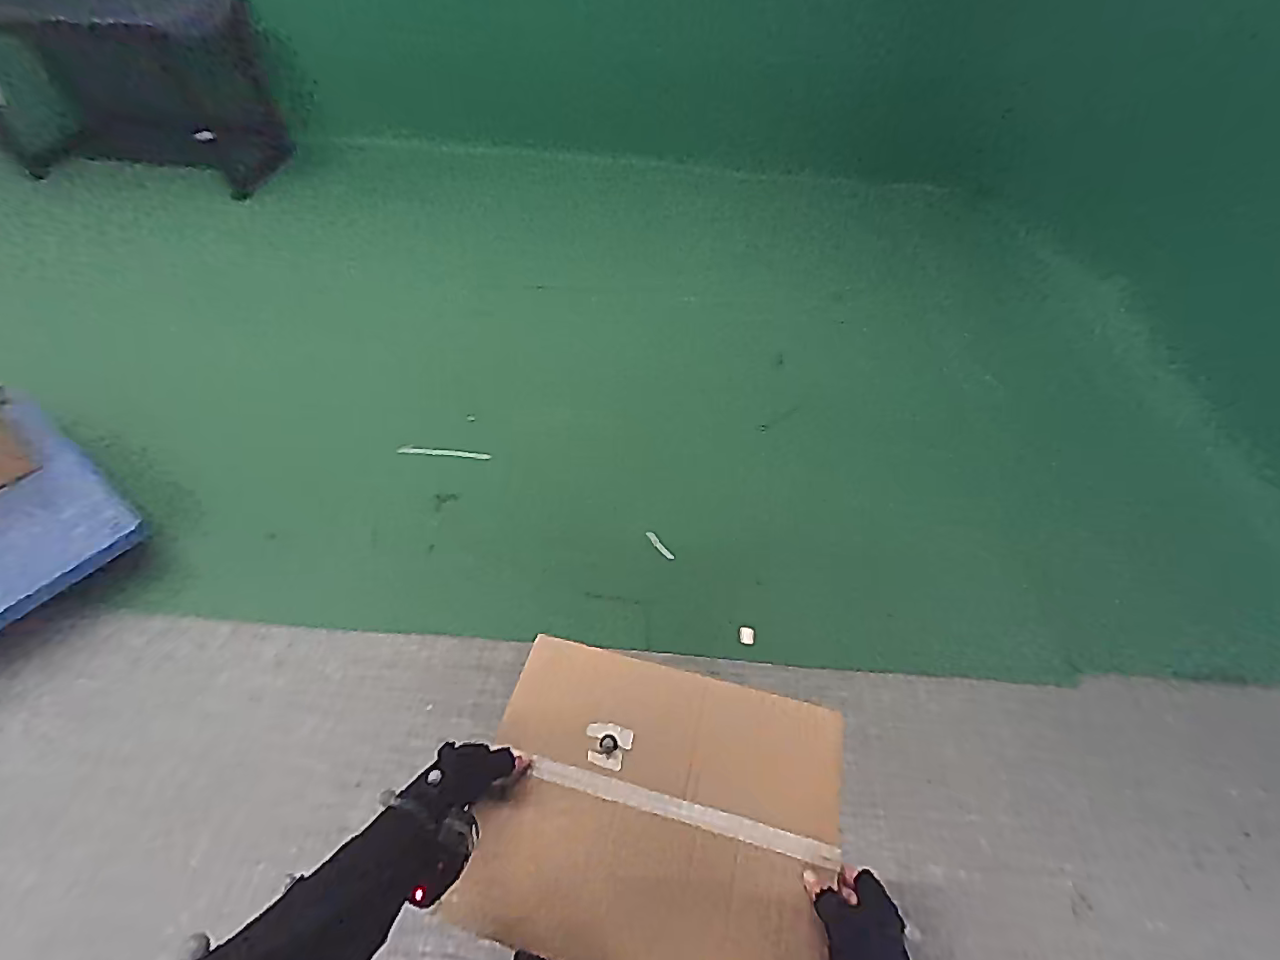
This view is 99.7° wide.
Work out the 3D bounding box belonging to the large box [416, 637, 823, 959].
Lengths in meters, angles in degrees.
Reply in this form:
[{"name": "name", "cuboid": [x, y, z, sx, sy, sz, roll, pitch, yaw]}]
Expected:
[{"name": "large box", "cuboid": [0.006, 0.451, 0.724, 0.408, 0.320, 0.320, 10, 53, 12]}]
